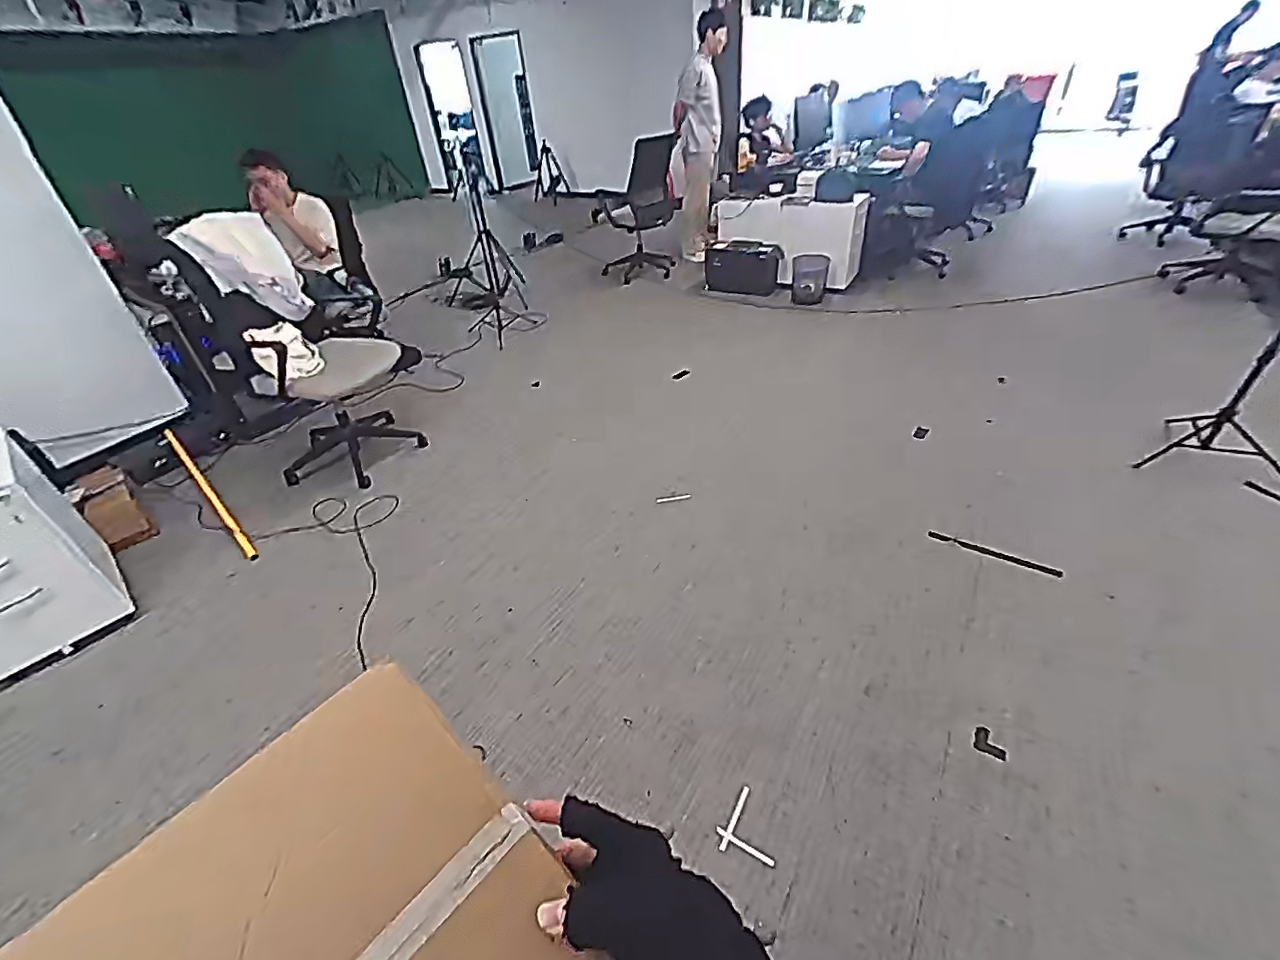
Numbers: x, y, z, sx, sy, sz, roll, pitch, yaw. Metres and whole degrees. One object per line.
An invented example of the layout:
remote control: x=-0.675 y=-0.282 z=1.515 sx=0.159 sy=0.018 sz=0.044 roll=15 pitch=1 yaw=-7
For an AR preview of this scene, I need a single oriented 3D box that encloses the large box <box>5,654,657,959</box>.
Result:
large box: x=-0.219 y=0.420 z=0.381 sx=0.320 sy=0.320 sz=0.408 roll=38 pitch=59 yaw=24
